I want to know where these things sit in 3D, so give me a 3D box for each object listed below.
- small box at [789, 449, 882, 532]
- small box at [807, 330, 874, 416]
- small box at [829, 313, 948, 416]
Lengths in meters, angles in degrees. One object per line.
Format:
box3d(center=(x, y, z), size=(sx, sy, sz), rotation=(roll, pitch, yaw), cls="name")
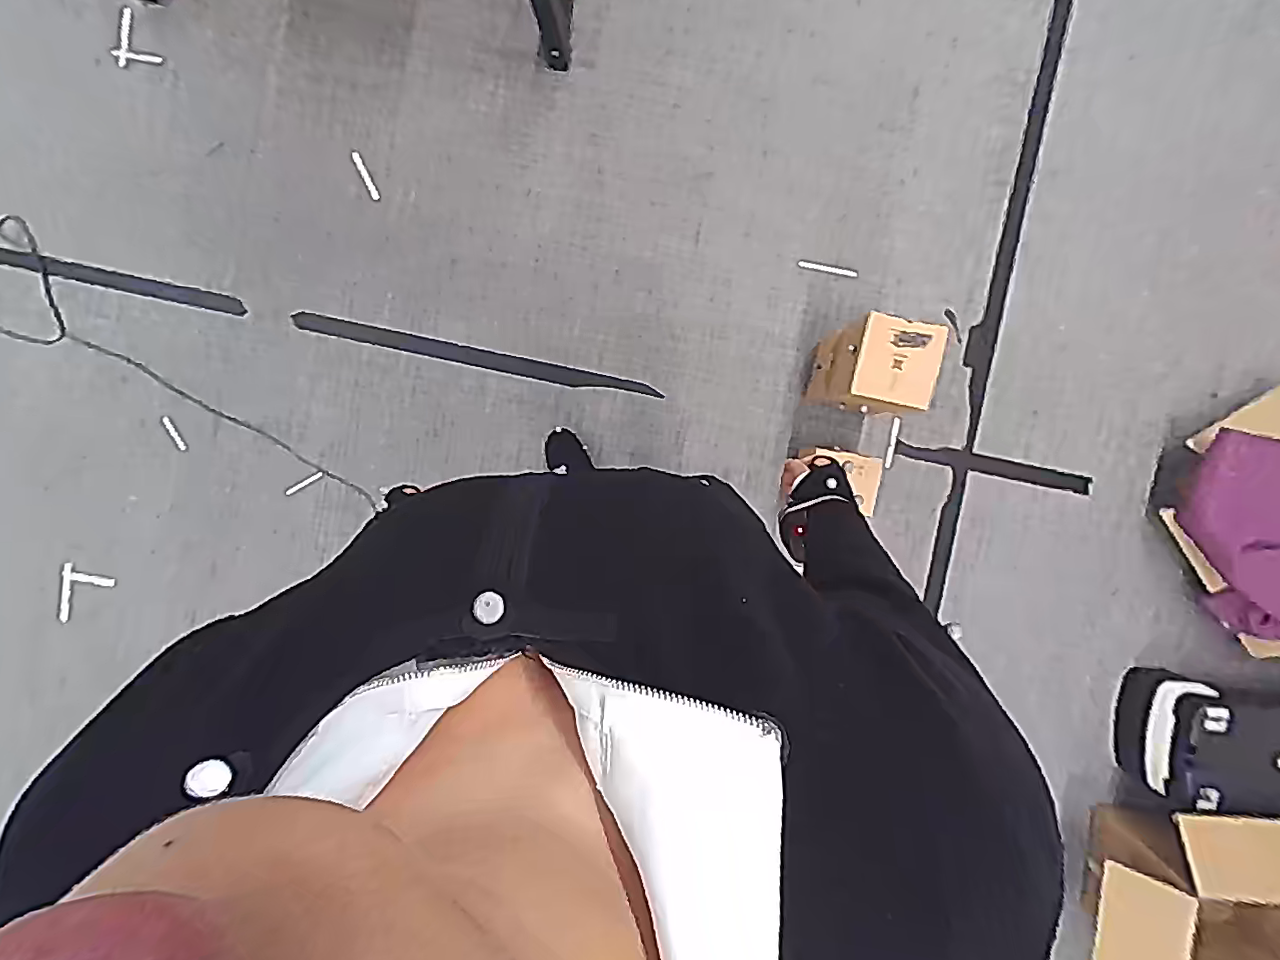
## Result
box3d(center=(0.489, 0.021, 1.381), size=(0.168, 0.176, 0.179), rotation=(10, 94, 1), cls="small box")
box3d(center=(0.537, -0.261, 1.360), size=(0.179, 0.176, 0.168), rotation=(13, 94, 2), cls="small box")
box3d(center=(0.536, -0.247, 1.194), size=(0.168, 0.176, 0.179), rotation=(13, 95, 1), cls="small box")
